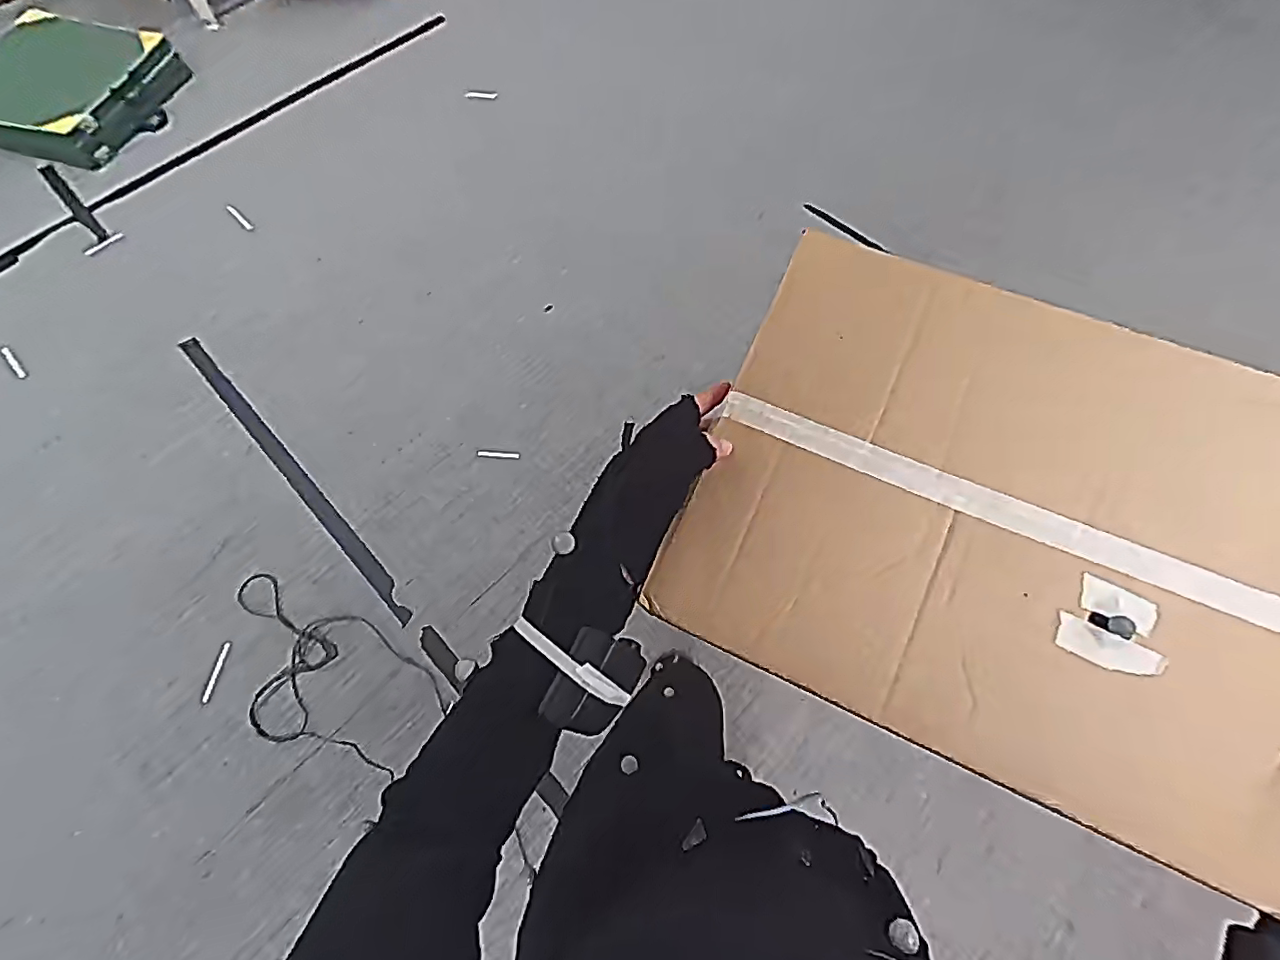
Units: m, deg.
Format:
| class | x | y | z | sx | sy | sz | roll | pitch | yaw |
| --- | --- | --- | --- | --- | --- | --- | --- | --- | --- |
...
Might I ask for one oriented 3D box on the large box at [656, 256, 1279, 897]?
| class | x | y | z | sx | sy | sz | roll | pitch | yaw |
| --- | --- | --- | --- | --- | --- | --- | --- | --- | --- |
| large box | 0.263 | 0.063 | 0.511 | 0.408 | 0.320 | 0.320 | 24 | 81 | 11 |
